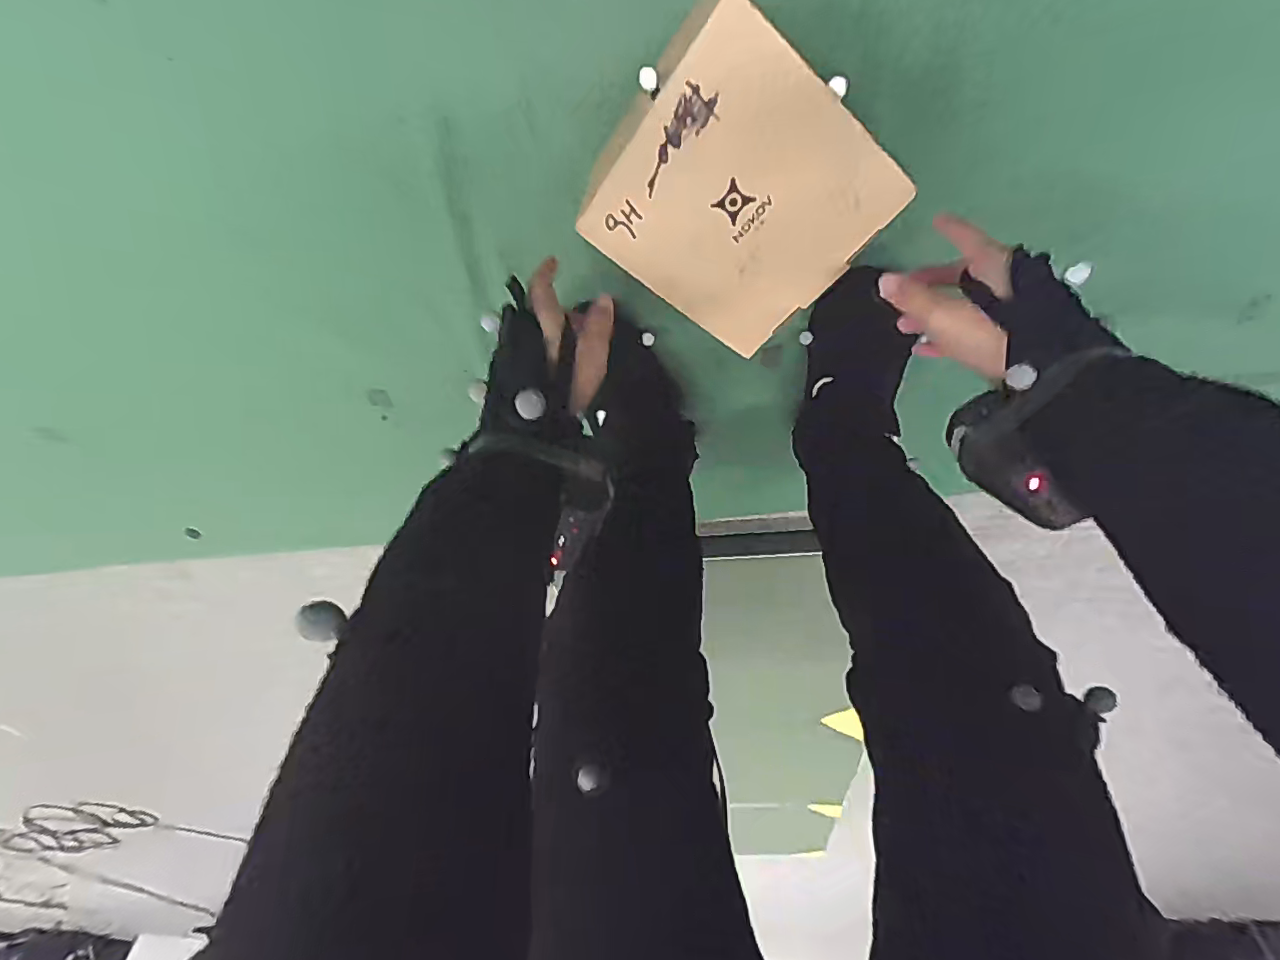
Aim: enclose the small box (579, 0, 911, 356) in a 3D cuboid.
[{"bbox_3d":[0.074,-0.243,0.437,0.179,0.176,0.168,30,127,-24],"label":"small box"}]
